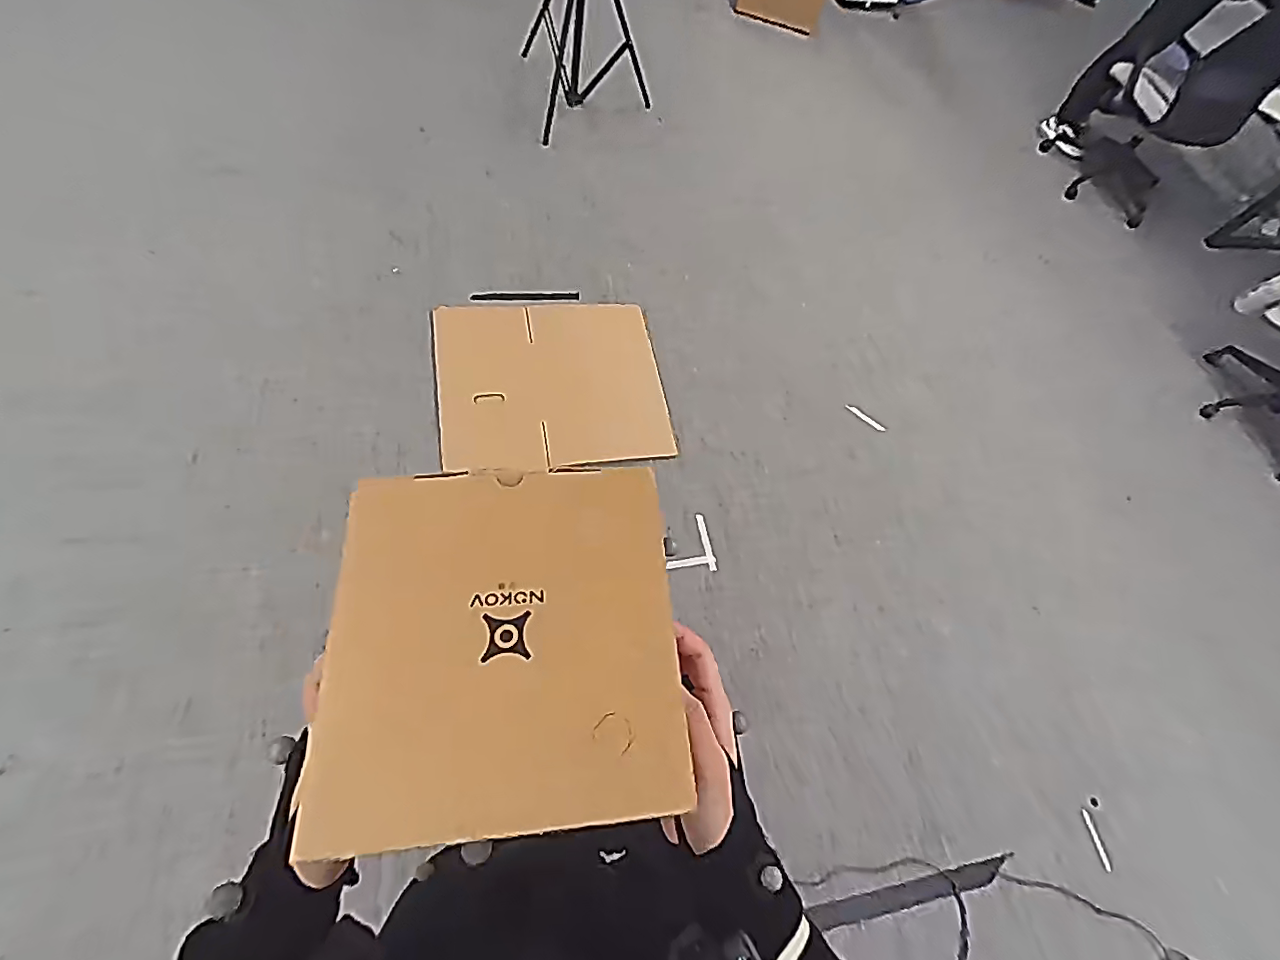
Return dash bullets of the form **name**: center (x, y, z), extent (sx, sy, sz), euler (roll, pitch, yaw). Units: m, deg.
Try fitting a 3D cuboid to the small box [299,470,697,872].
- **small box**: center (-0.070, 0.112, 0.330), extent (0.168, 0.176, 0.179), euler (-2, 61, -8)
